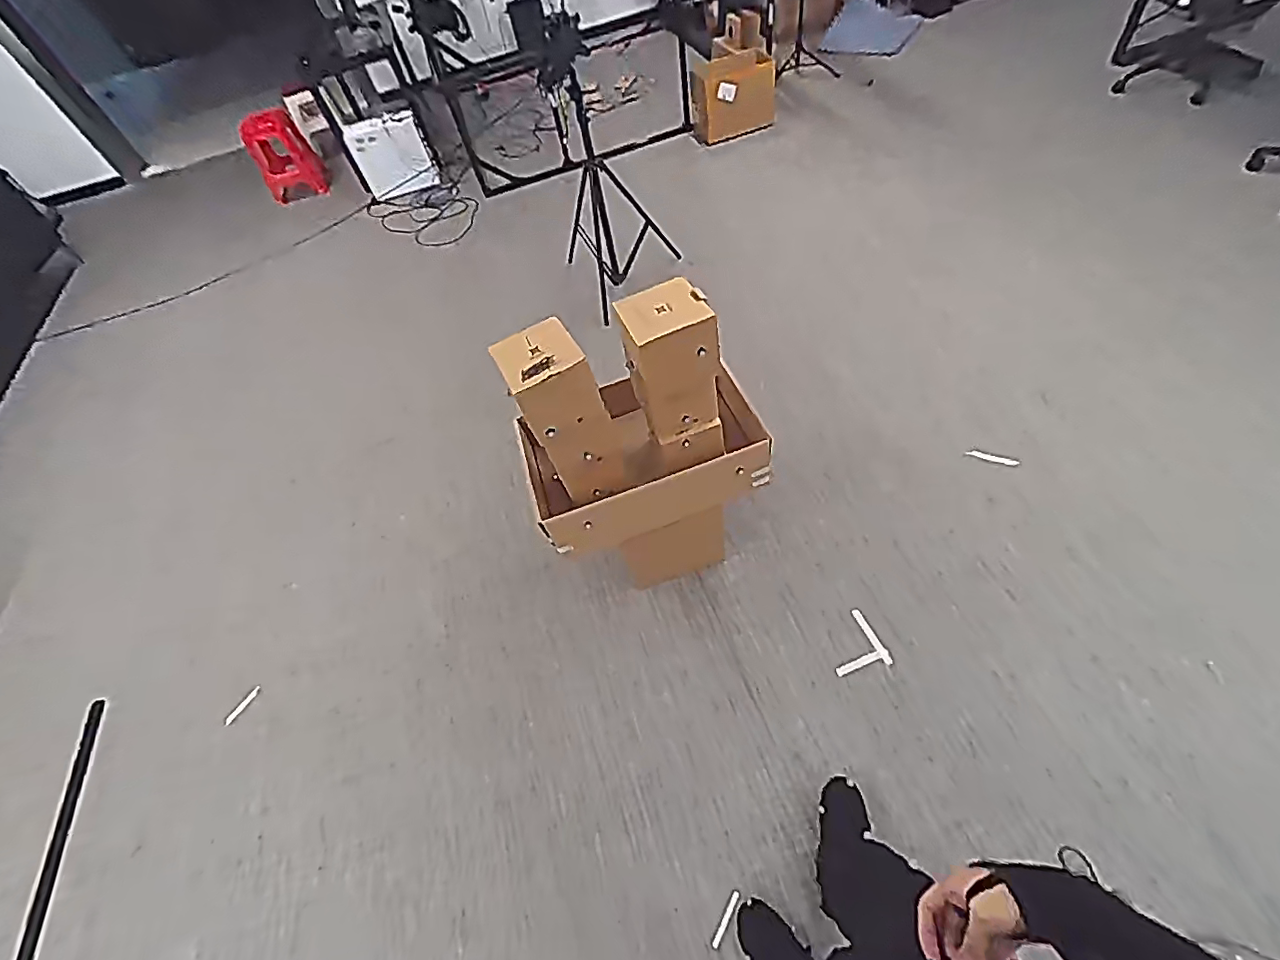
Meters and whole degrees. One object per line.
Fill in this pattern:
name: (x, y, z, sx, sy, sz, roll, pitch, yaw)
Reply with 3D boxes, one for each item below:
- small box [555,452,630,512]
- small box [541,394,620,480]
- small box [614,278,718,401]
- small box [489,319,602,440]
small box: (-0.145, -0.046, 1.461, 0.168, 0.176, 0.179, -27, 54, -7)
small box: (-0.167, -0.133, 1.323, 0.168, 0.176, 0.179, -26, 55, -7)
small box: (0.061, -0.306, 1.191, 0.179, 0.176, 0.168, -23, 52, -5)
small box: (-0.201, -0.211, 1.181, 0.168, 0.176, 0.179, -29, 54, -9)
